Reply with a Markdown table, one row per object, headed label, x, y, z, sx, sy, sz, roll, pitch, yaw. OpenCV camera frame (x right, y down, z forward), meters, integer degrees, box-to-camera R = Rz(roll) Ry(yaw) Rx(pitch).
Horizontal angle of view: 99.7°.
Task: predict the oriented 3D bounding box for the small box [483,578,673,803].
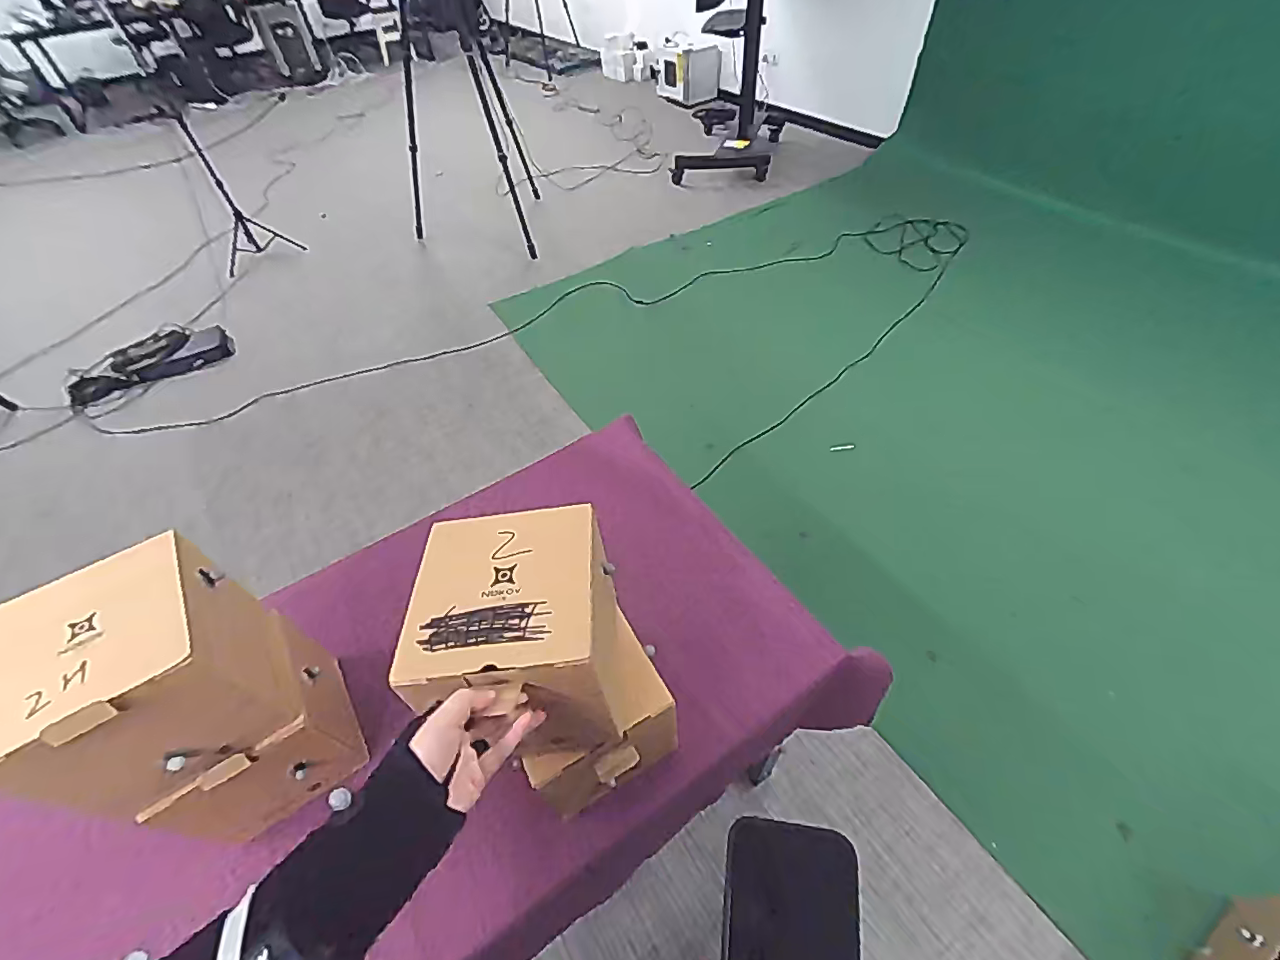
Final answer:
| label | x | y | z | sx | sy | sz | roll | pitch | yaw |
| --- | --- | --- | --- | --- | --- | --- | --- | --- | --- |
| small box | -0.072 | 0.261 | 0.669 | 0.168 | 0.176 | 0.179 | -25 | 53 | -16 |

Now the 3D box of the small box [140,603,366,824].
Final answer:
| label | x | y | z | sx | sy | sz | roll | pitch | yaw |
| --- | --- | --- | --- | --- | --- | --- | --- | --- | --- |
| small box | -0.473 | 0.295 | 0.673 | 0.168 | 0.176 | 0.179 | -29 | 53 | -20 |

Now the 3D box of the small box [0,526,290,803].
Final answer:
| label | x | y | z | sx | sy | sz | roll | pitch | yaw |
| --- | --- | --- | --- | --- | --- | --- | --- | --- | --- |
| small box | -0.496 | 0.187 | 0.549 | 0.168 | 0.176 | 0.179 | -30 | 54 | -19 |
